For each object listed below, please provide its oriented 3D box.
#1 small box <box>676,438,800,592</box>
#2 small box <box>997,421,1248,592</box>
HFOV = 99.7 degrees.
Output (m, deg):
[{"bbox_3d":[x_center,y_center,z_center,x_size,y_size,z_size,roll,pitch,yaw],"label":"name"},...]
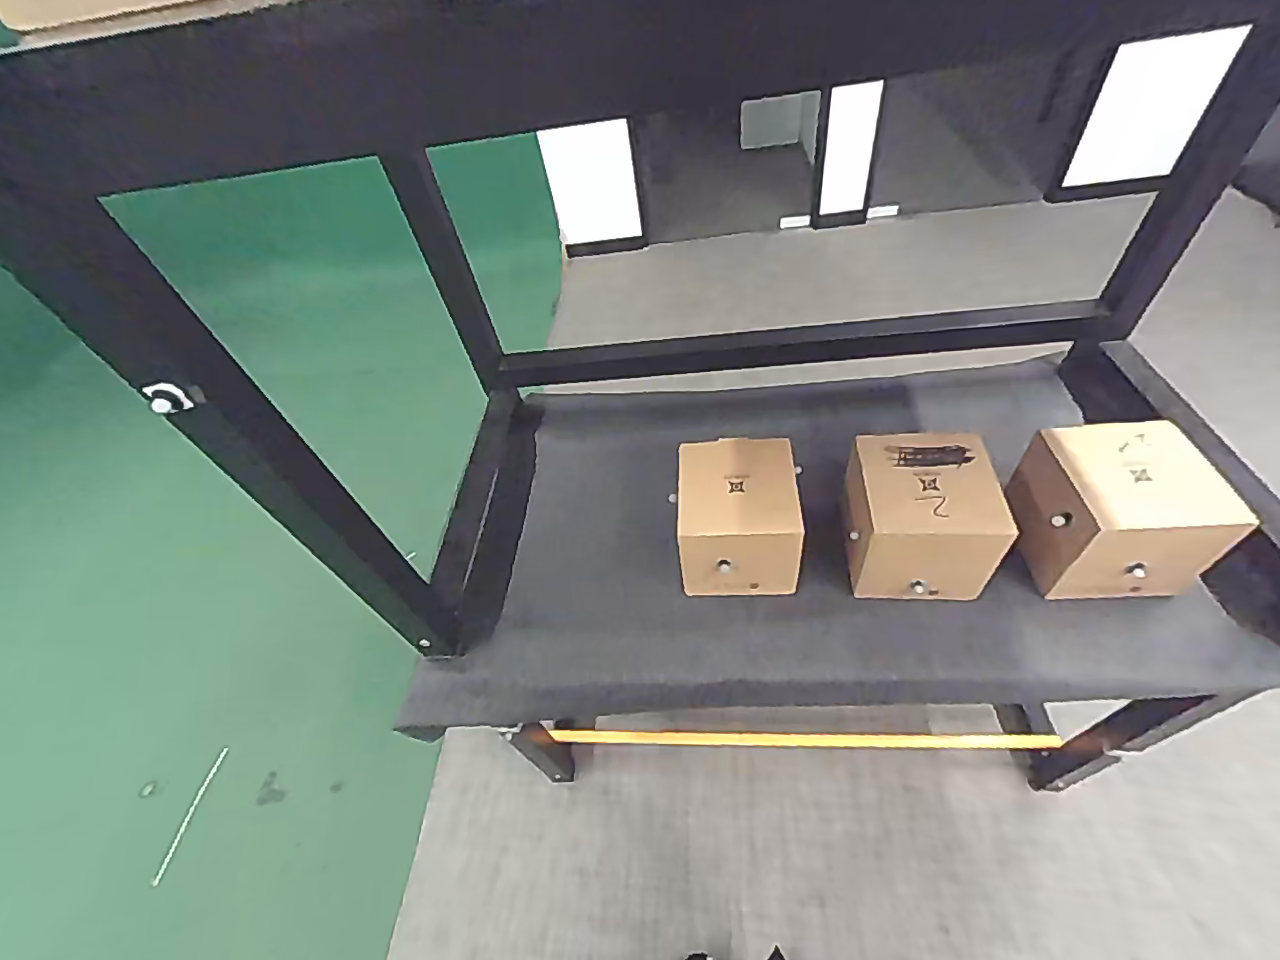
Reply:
[{"bbox_3d":[0.146,0.059,0.824,0.168,0.176,0.179,-3,49,8],"label":"small box"},{"bbox_3d":[0.633,0.043,0.742,0.168,0.176,0.179,-3,48,7],"label":"small box"}]
